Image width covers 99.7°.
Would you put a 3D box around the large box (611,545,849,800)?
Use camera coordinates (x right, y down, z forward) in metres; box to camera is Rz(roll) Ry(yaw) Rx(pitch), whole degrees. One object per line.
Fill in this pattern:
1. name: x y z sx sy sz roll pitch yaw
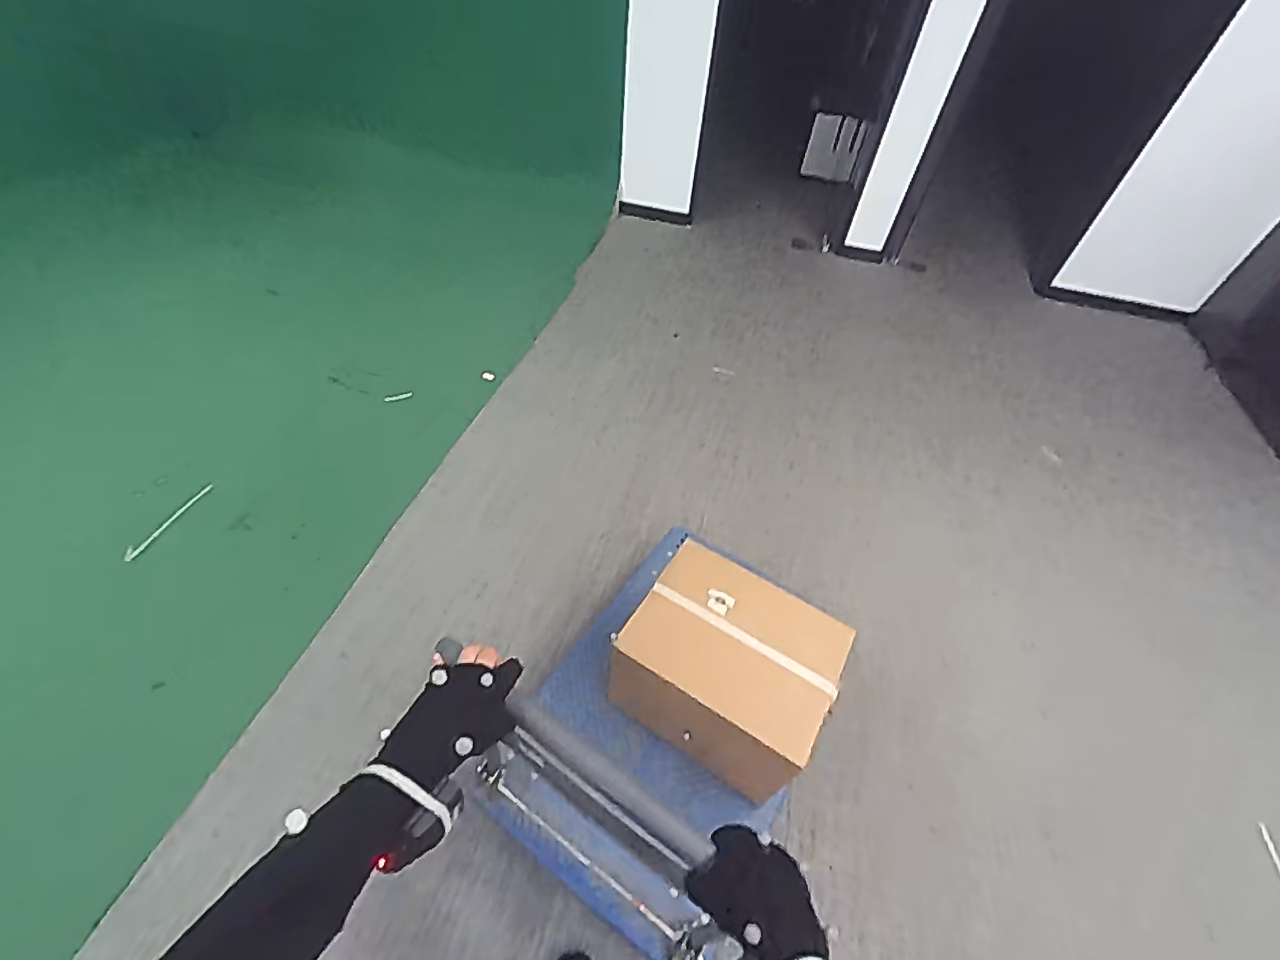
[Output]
1. large box: 0.183 0.422 1.202 0.408 0.320 0.320 27 51 19
